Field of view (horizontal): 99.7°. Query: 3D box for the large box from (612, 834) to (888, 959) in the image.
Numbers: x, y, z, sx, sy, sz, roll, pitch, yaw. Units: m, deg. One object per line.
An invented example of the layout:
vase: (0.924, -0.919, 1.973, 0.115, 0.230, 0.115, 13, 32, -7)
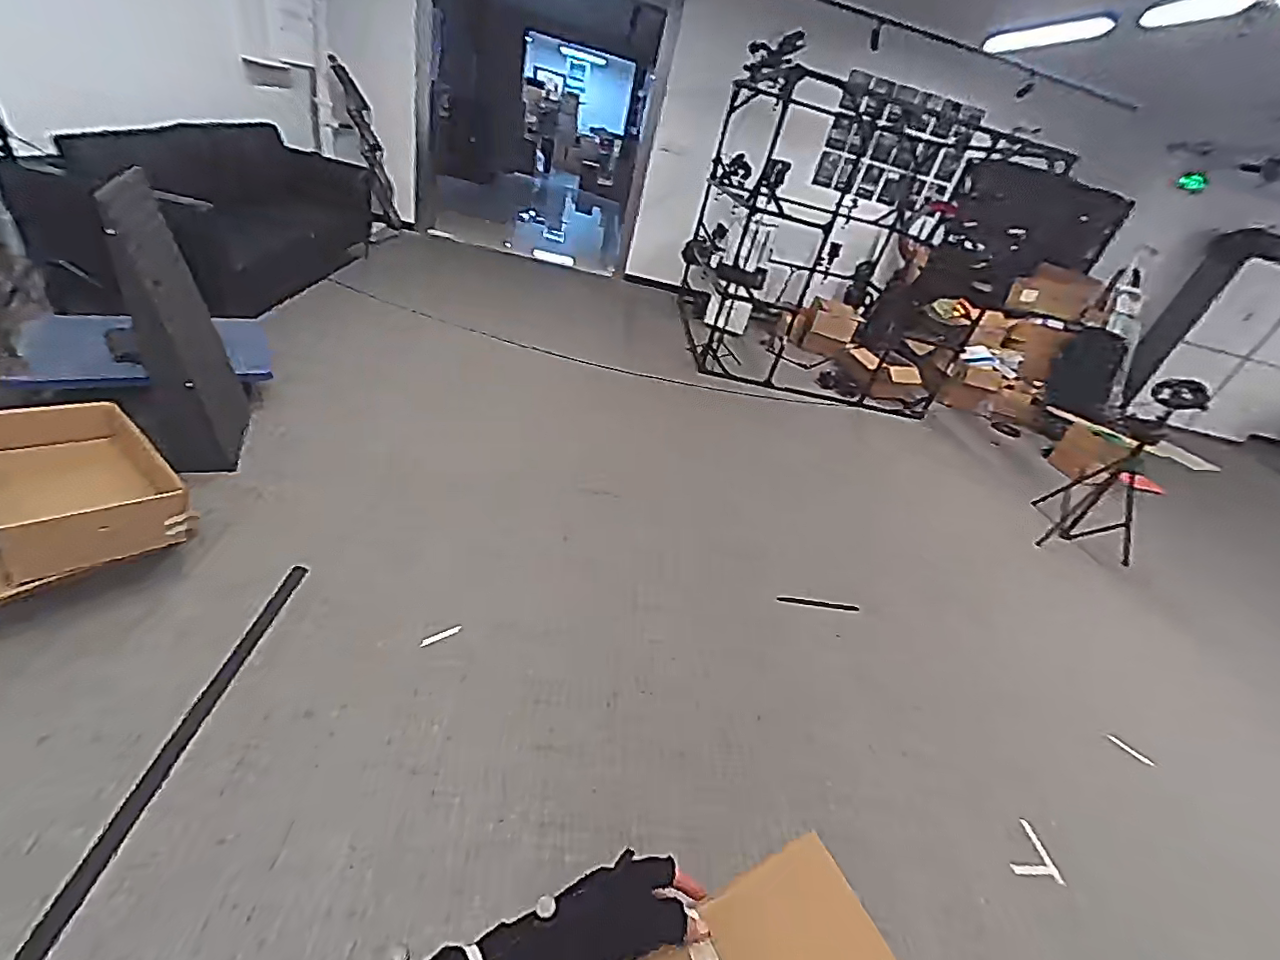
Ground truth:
large box: (0.104, 0.628, 0.472, 0.320, 0.320, 0.408, -14, 49, -26)
